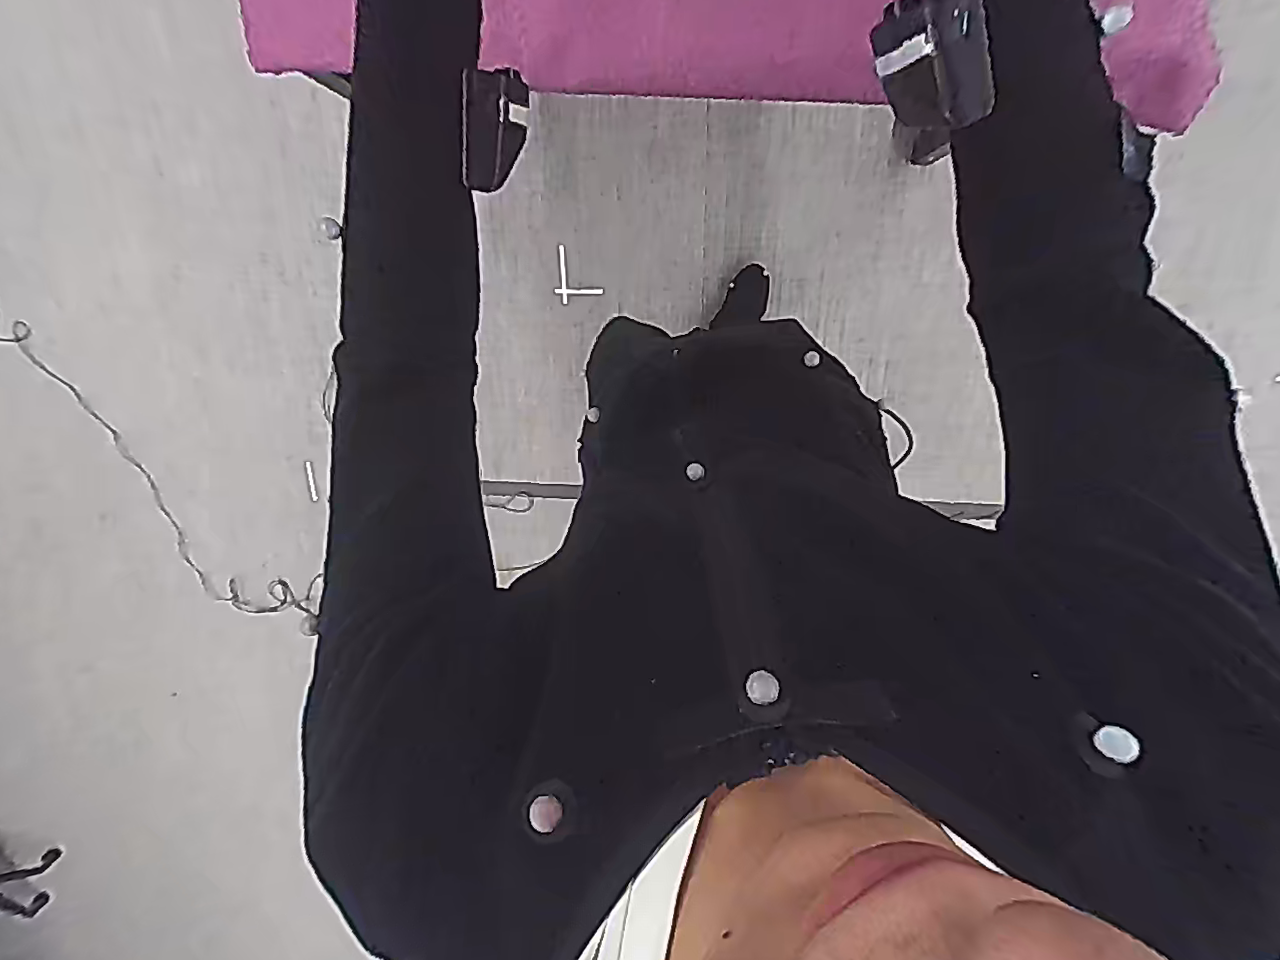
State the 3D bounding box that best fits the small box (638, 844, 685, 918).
[{"bbox_3d":[0.086,1.568,2.122,0.179,0.176,0.168,3,108,4],"label":"small box"}]
